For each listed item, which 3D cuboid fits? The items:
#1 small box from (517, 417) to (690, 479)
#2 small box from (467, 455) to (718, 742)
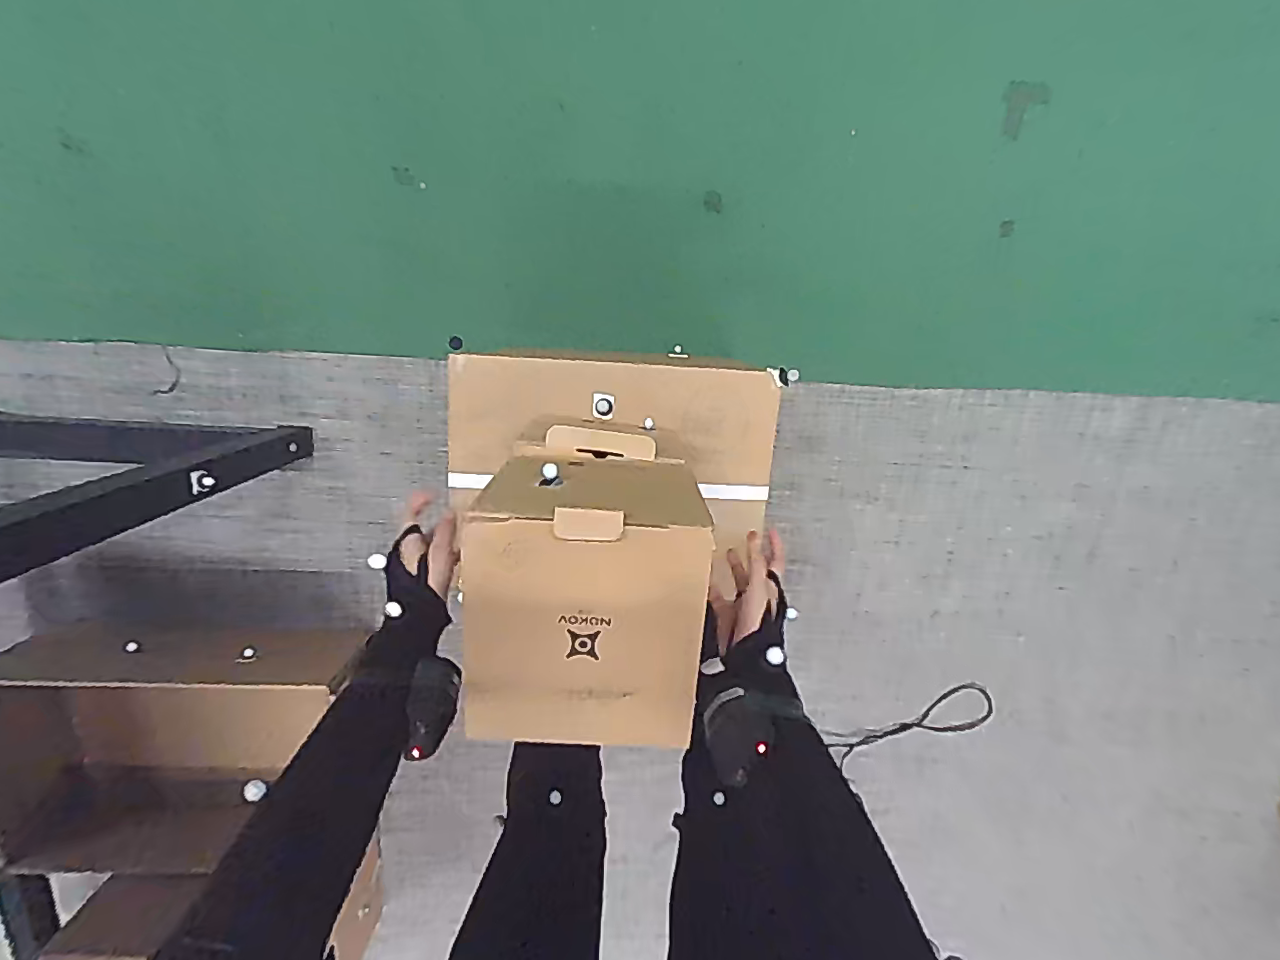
[{"bbox_3d":[-0.047,0.032,0.602,0.168,0.176,0.179,7,106,-3],"label":"small box"},{"bbox_3d":[-0.039,0.082,0.447,0.168,0.176,0.179,4,106,-2],"label":"small box"}]
